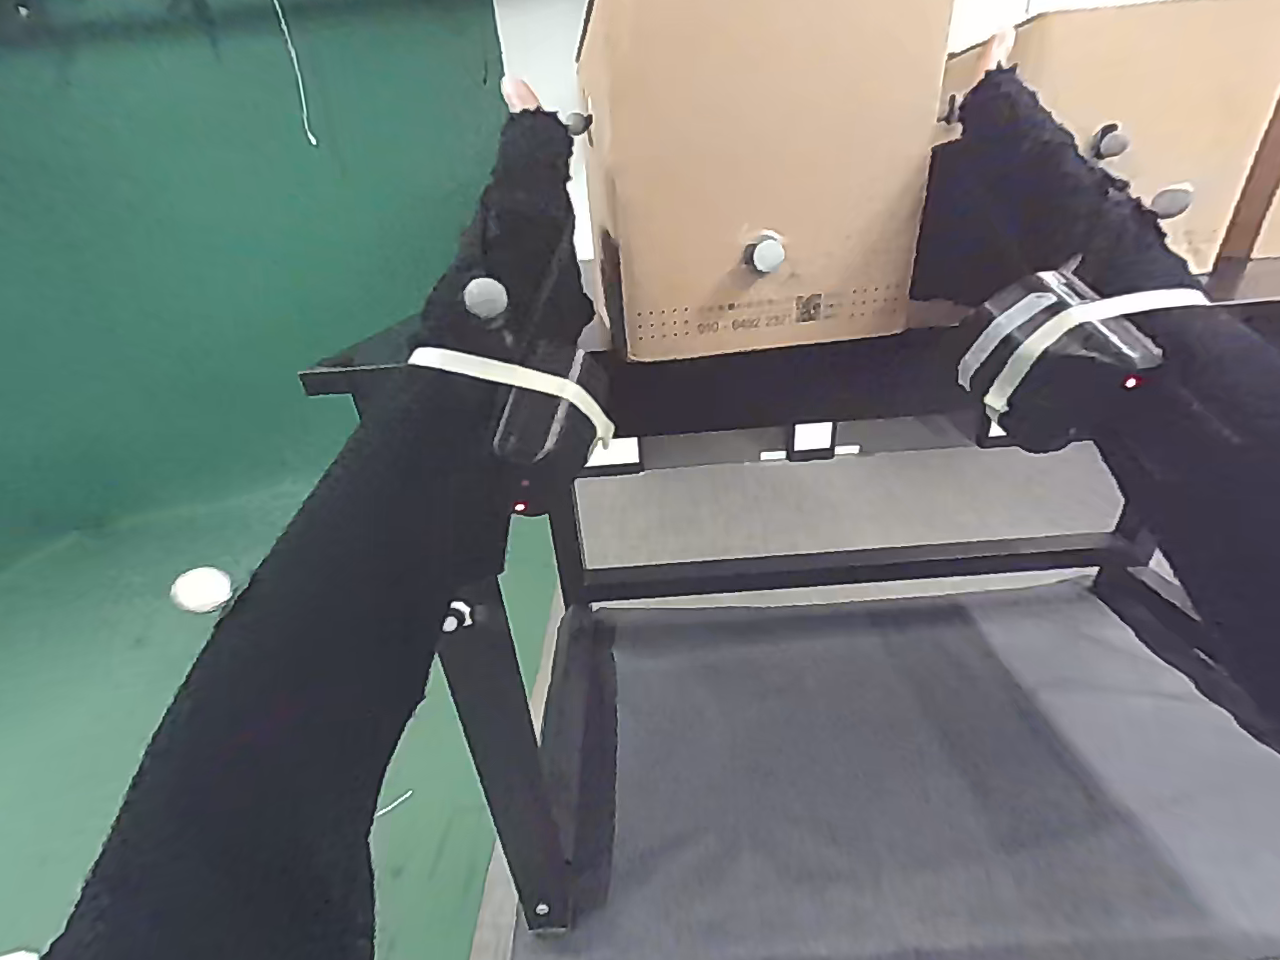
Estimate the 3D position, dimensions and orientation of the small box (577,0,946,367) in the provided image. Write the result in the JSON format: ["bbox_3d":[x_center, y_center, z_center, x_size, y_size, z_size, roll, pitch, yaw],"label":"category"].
[{"bbox_3d":[0.052,-0.179,0.347,0.168,0.176,0.179,-8,28,-6],"label":"small box"}]
